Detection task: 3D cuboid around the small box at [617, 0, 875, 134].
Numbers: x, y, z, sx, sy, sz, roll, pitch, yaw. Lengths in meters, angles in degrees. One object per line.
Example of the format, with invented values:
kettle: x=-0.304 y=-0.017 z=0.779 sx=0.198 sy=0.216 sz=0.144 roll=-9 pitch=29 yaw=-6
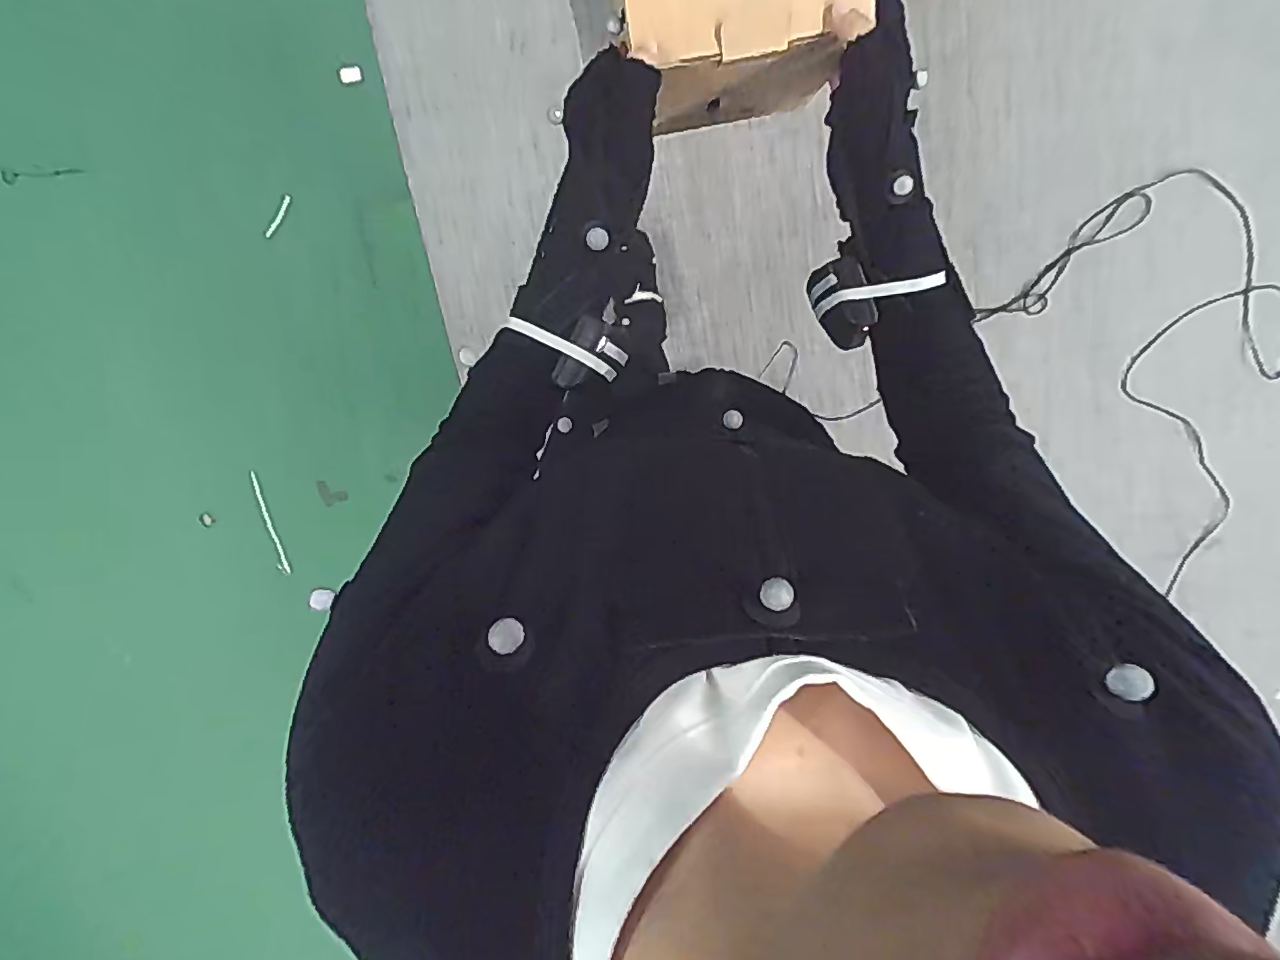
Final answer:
small box: x=0.064 y=-0.398 z=0.415 sx=0.168 sy=0.176 sz=0.179 roll=-9 pitch=110 yaw=2
